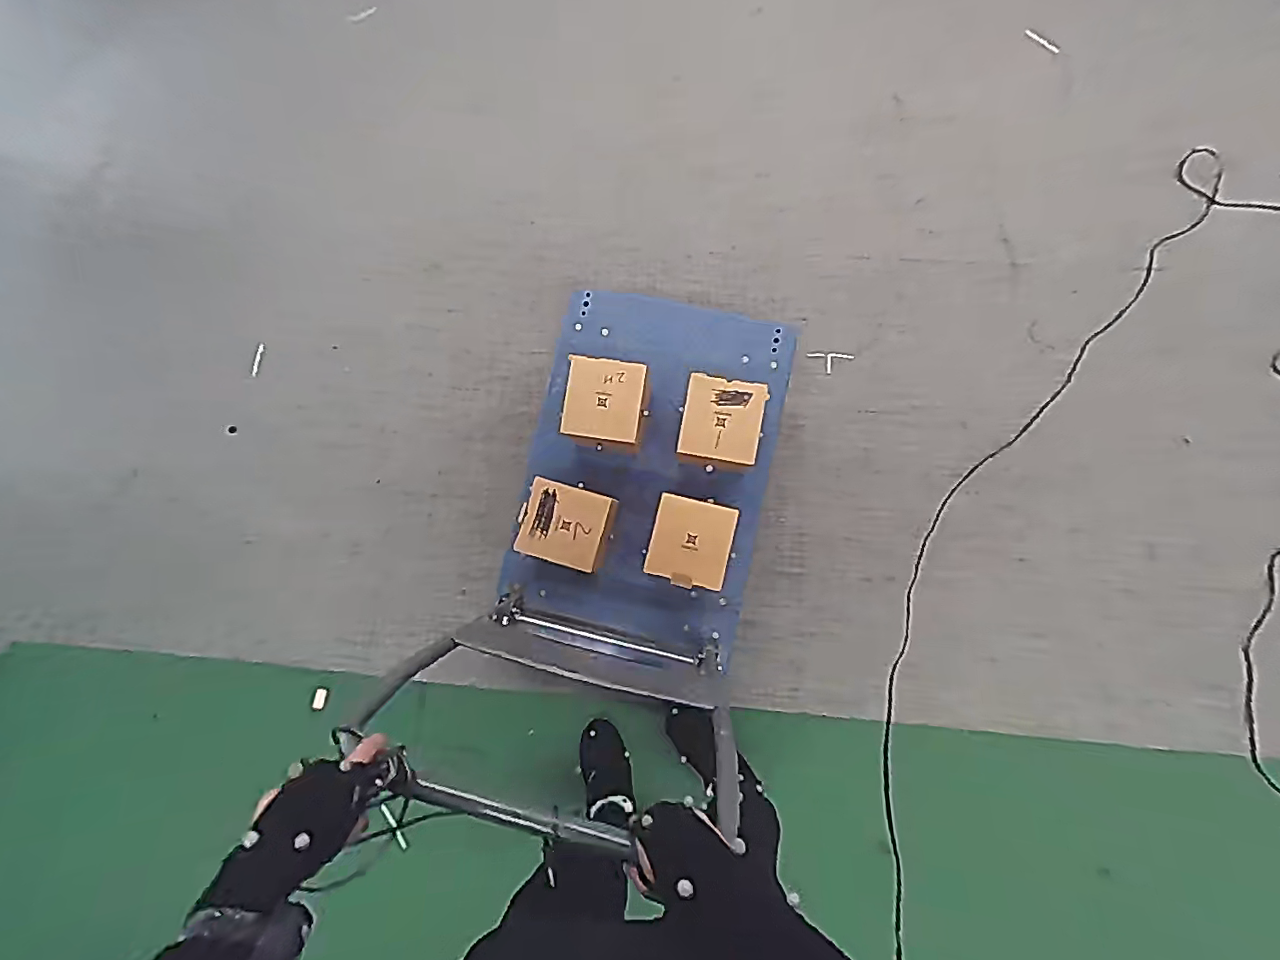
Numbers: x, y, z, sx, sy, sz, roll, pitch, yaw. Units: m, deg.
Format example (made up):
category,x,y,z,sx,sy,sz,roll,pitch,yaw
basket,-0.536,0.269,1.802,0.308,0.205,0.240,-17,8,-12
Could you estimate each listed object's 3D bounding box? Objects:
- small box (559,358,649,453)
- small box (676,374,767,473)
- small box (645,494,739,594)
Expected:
category,x,y,z,sx,sy,sz,roll,pitch,yaw
small box,-0.075,-0.162,1.234,0.168,0.176,0.179,8,86,5
small box,0.177,-0.120,1.209,0.168,0.176,0.179,10,87,6
small box,0.112,0.137,1.196,0.168,0.176,0.179,13,87,6
